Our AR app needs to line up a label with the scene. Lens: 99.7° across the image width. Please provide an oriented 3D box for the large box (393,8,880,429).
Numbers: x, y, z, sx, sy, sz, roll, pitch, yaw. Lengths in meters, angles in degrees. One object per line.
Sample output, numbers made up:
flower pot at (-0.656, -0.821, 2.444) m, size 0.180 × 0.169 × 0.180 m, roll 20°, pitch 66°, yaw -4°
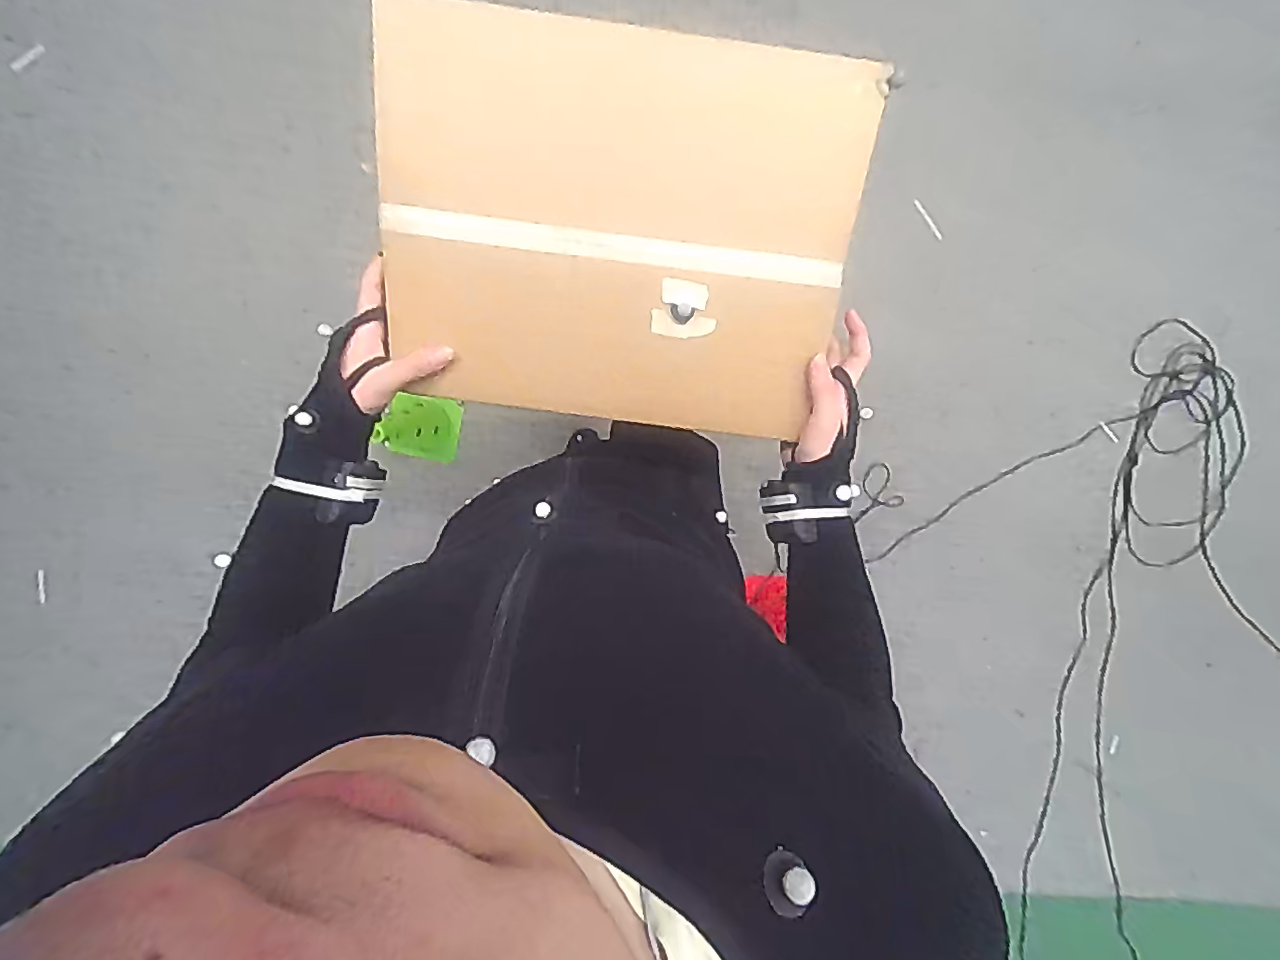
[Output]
large box at (-0.017, -0.263, 0.624) m, size 0.408 × 0.320 × 0.320 m, roll 6°, pitch 111°, yaw -2°

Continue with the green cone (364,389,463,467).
green cone at (-0.614, -0.118, 1.391) m, size 0.200 × 0.368 × 0.202 m, roll 12°, pitch 99°, yaw -5°
